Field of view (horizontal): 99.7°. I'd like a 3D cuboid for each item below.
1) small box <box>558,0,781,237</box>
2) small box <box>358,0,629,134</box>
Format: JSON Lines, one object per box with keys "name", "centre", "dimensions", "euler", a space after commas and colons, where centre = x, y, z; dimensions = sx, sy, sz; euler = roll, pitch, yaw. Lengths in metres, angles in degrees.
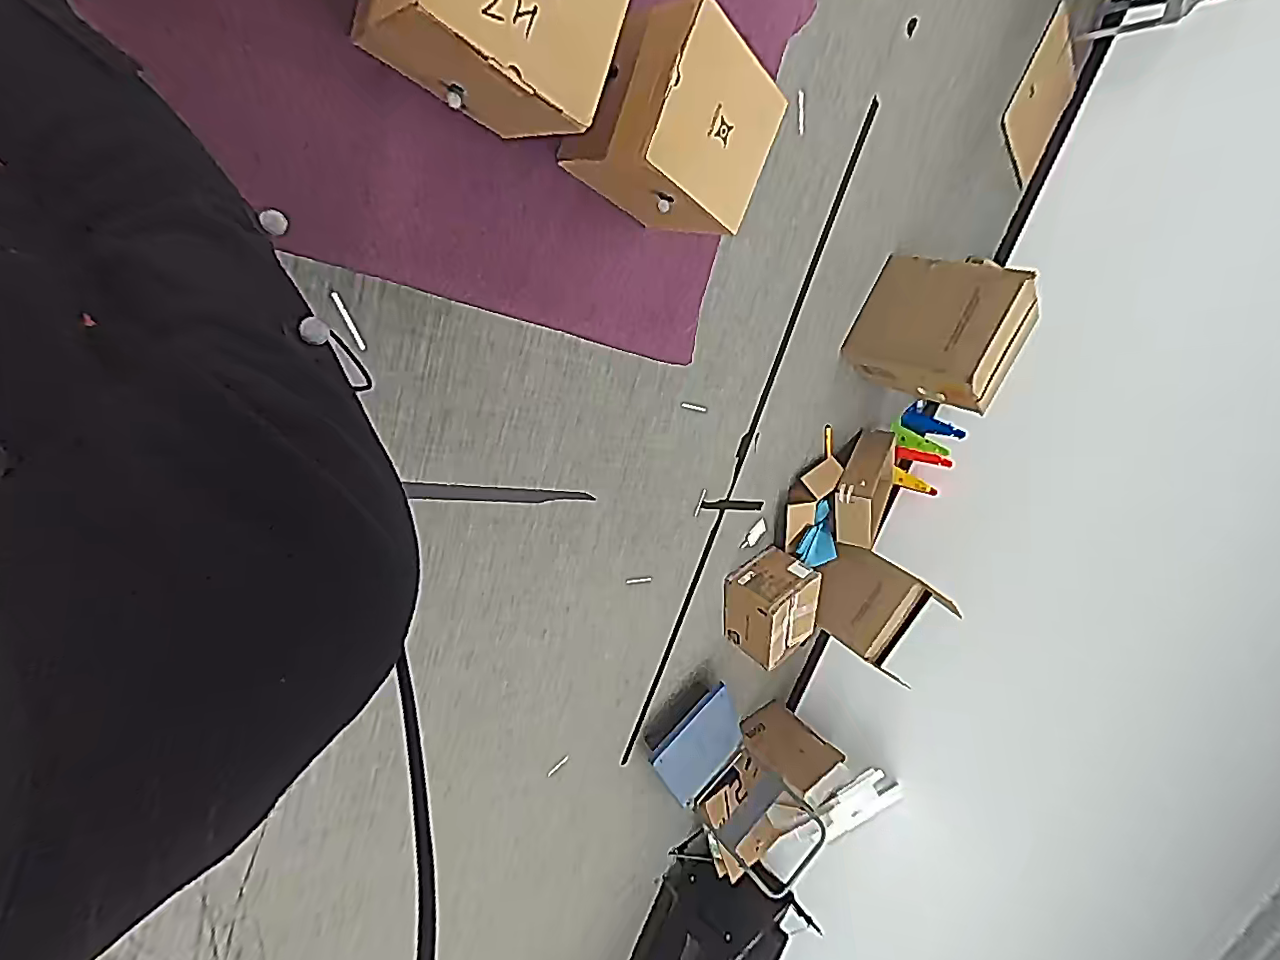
{"name": "small box", "centre": [0.034, -0.424, 0.661], "dimensions": [0.179, 0.176, 0.168], "euler": [11, 104, -47]}
{"name": "small box", "centre": [-0.128, -0.444, 0.484], "dimensions": [0.168, 0.176, 0.179], "euler": [8, 107, -47]}
